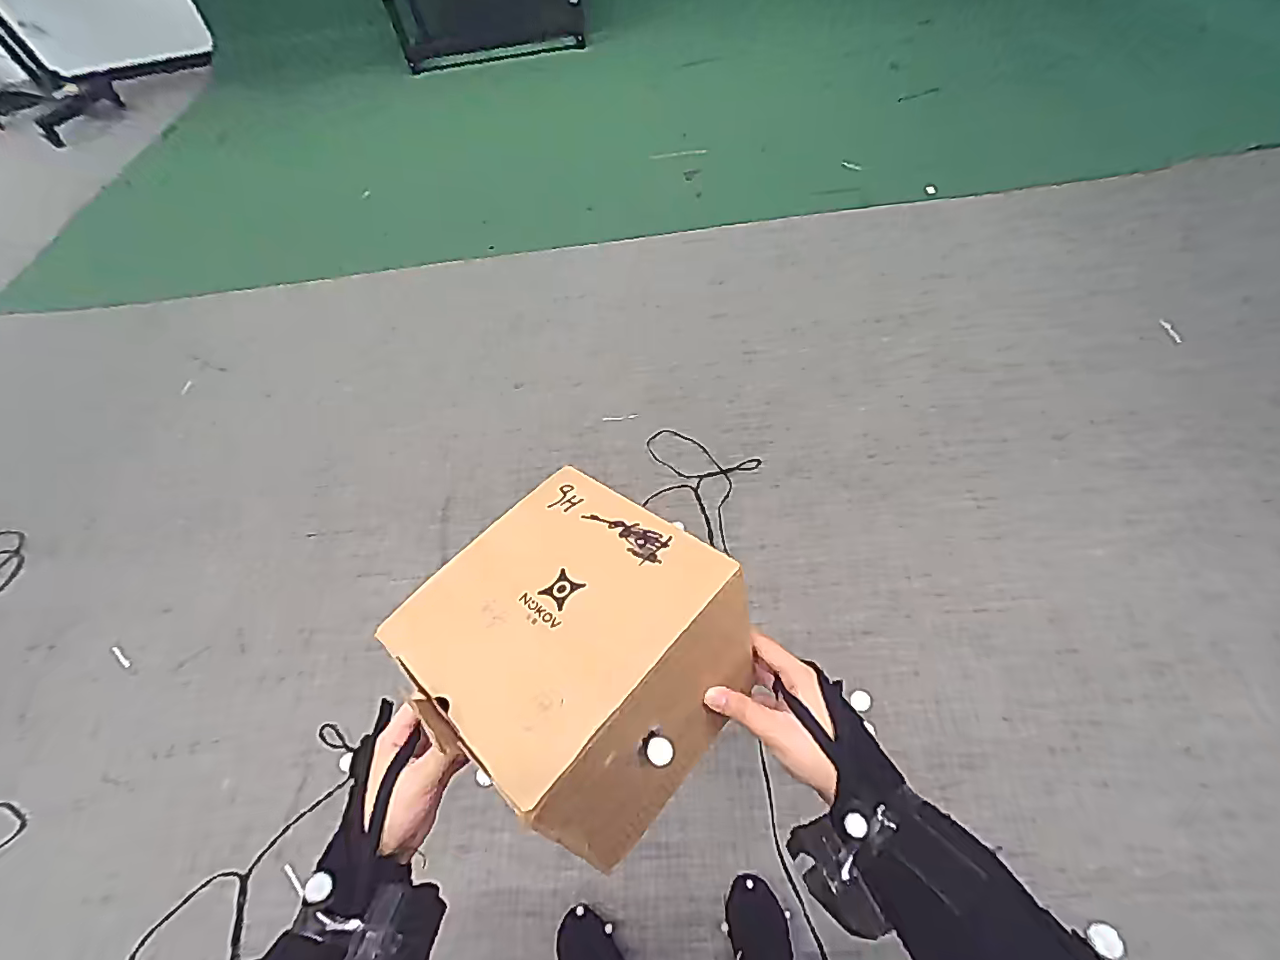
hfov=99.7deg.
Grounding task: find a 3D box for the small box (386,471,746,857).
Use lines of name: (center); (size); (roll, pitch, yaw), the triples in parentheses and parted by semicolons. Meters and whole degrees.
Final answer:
small box: (-0.036, 0.132, 0.396); (0.168, 0.176, 0.179); (28, 61, 36)
